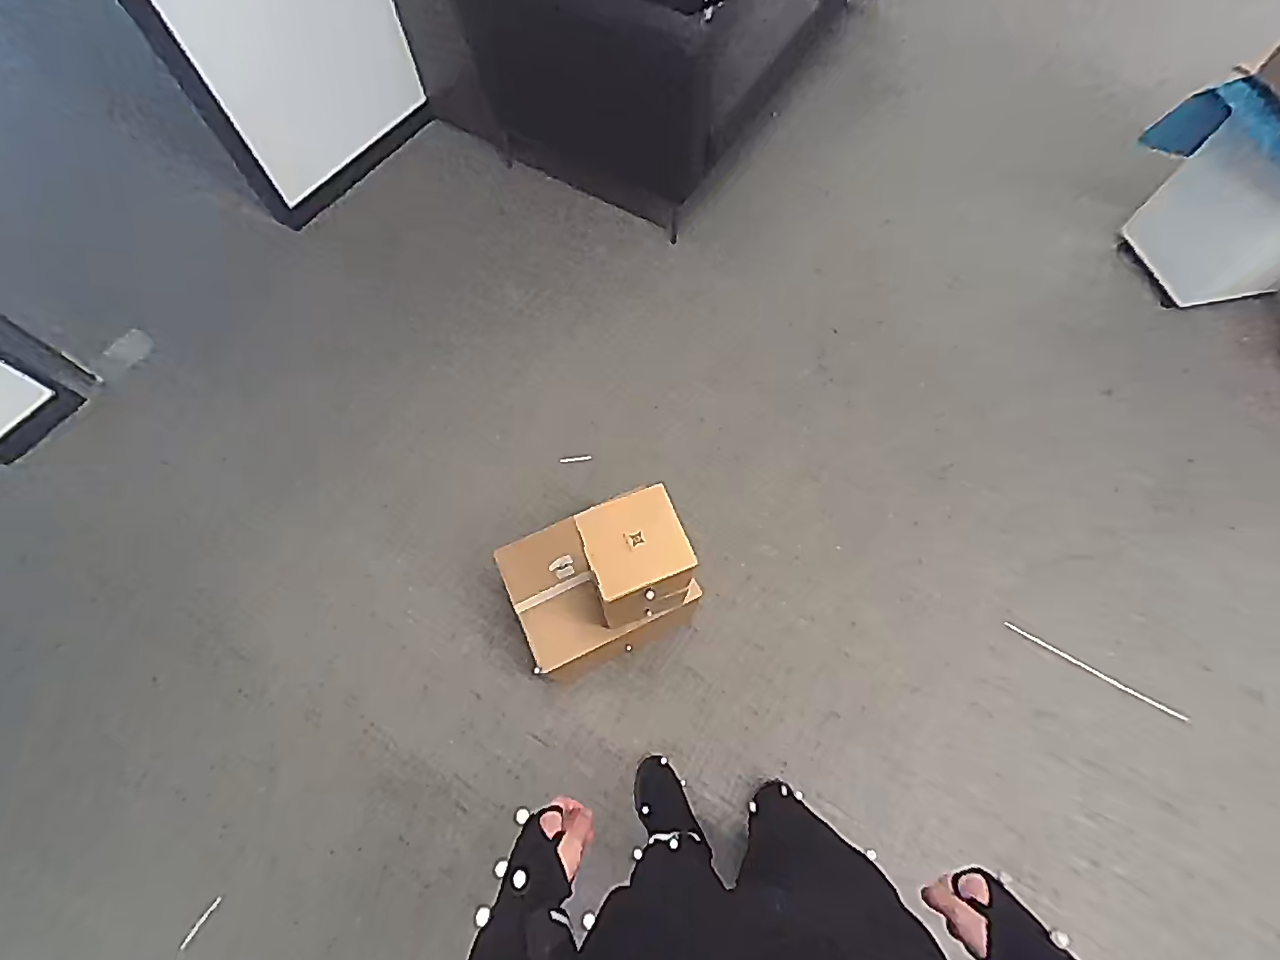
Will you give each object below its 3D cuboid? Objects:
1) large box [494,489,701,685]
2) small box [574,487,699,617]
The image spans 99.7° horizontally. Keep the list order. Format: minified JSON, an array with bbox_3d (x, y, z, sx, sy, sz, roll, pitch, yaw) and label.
[{"bbox_3d":[-0.100,0.285,1.386,0.408,0.320,0.320,-24,67,-10],"label":"large box"},{"bbox_3d":[-0.009,0.140,1.004,0.179,0.176,0.168,-21,69,-8],"label":"small box"}]
